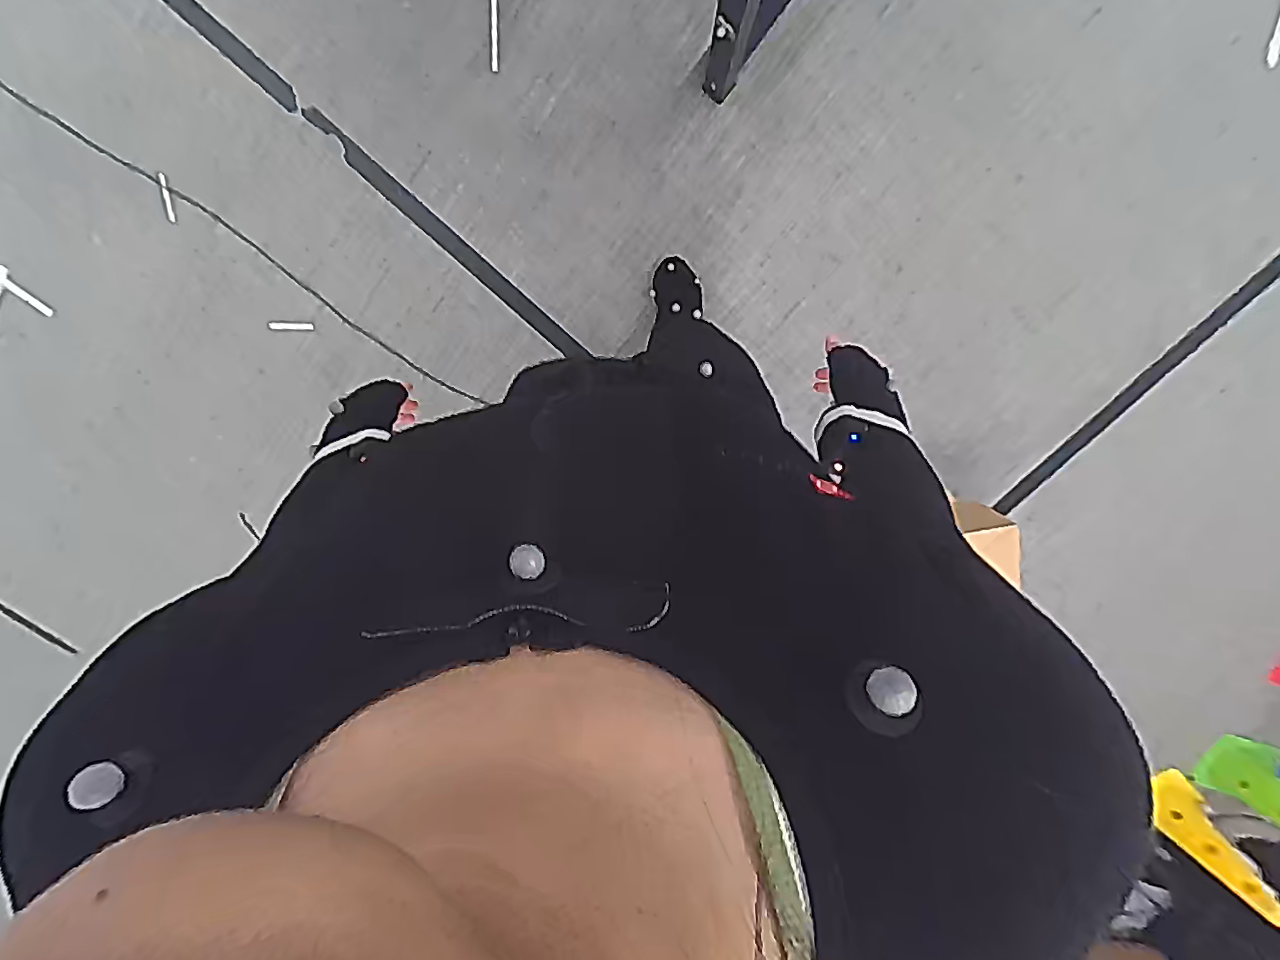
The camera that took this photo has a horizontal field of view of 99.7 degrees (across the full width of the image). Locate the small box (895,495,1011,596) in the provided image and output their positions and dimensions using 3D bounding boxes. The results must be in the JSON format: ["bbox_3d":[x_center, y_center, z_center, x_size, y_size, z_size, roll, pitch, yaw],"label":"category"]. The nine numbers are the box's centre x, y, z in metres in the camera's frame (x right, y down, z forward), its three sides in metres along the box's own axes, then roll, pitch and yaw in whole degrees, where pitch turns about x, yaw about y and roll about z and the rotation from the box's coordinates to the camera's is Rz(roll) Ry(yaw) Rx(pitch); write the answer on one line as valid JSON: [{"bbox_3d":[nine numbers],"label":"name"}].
[{"bbox_3d":[0.727,0.153,1.266,0.179,0.176,0.168,-11,107,5],"label":"small box"}]
